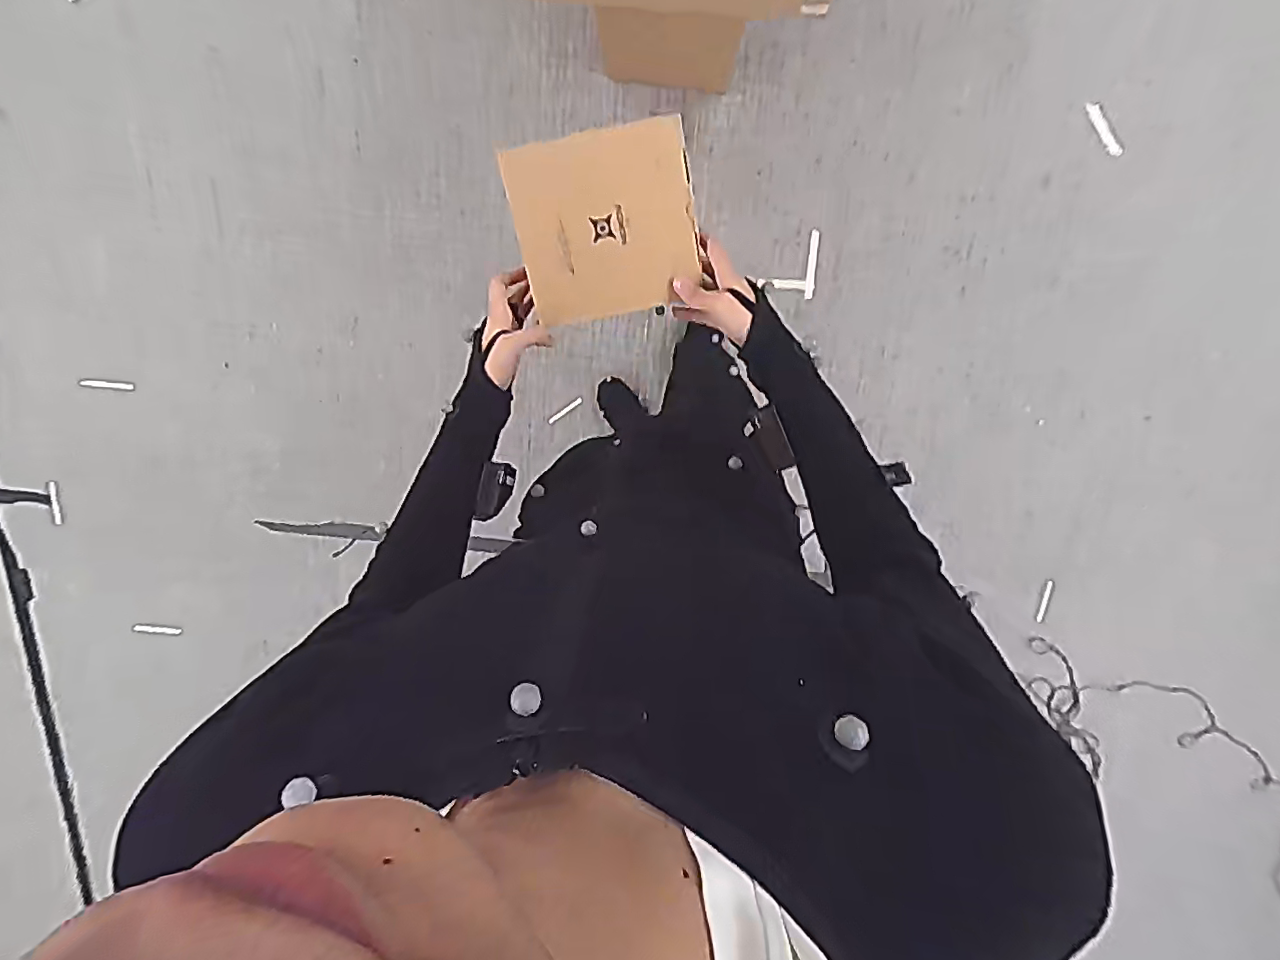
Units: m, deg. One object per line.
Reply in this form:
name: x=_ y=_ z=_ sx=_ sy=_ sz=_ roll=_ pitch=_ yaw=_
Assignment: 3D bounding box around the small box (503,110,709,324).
small box: x=-0.034 y=-0.278 z=0.599 sx=0.179 sy=0.176 sz=0.168 roll=-12 pitch=110 yaw=0
